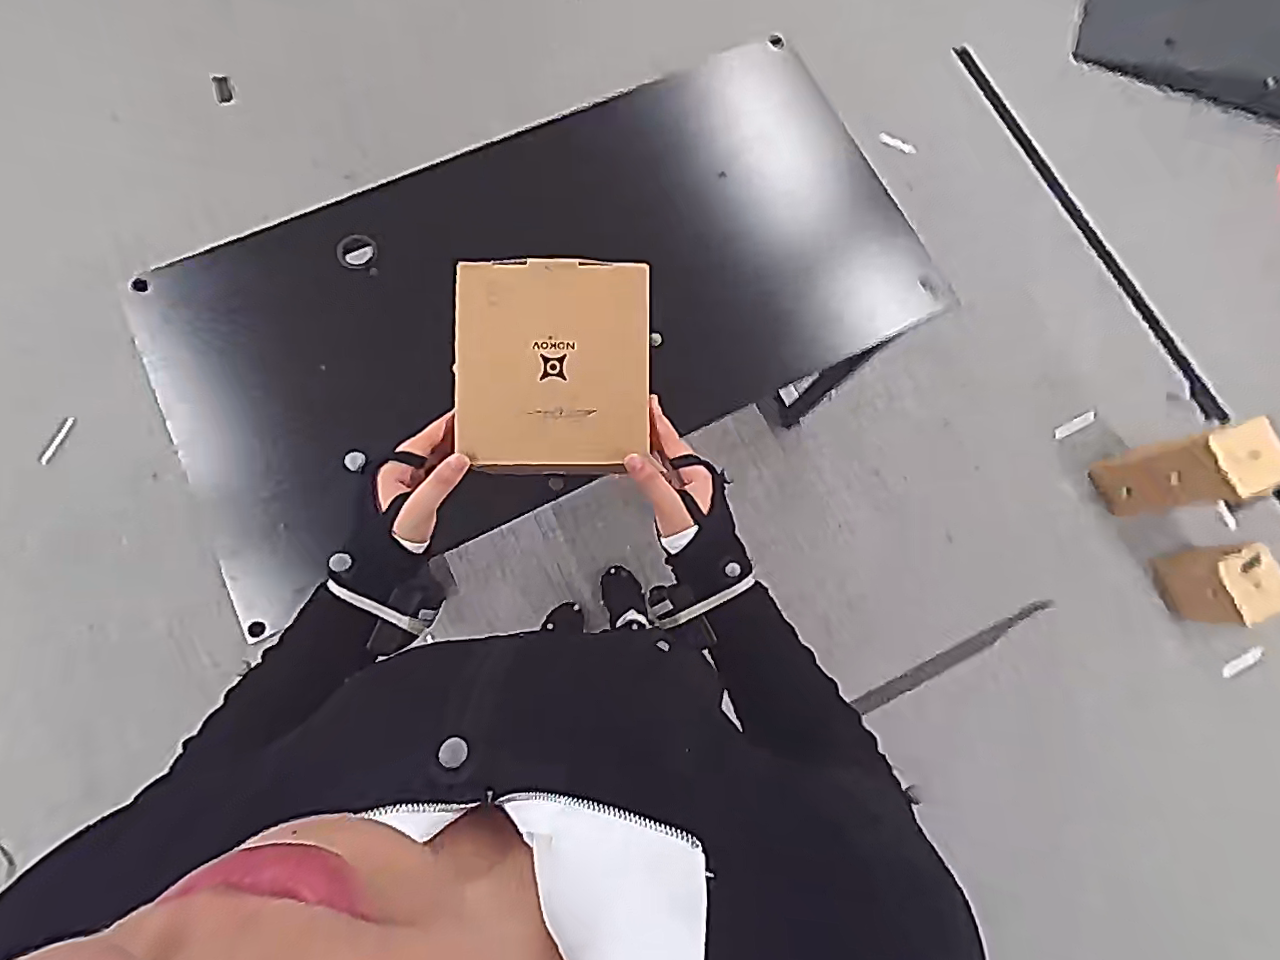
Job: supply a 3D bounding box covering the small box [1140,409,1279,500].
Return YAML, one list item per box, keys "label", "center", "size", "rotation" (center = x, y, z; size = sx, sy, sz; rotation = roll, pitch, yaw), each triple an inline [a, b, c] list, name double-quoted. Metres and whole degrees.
- label: "small box"
  center: [1.474, -0.060, 1.400]
  size: [0.179, 0.176, 0.168]
  rotation: [-21, 81, -6]

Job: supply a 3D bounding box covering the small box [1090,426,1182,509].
- label: "small box"
  center: [1.462, -0.029, 1.563]
  size: [0.179, 0.176, 0.168]
  rotation: [-27, 82, -7]

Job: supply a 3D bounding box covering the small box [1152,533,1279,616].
- label: "small box"
  center: [1.614, 0.266, 1.517]
  size: [0.168, 0.176, 0.179]
  rotation: [-23, 83, -7]

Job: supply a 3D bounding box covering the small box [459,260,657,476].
- label: "small box"
  center: [-0.072, -0.096, 0.538]
  size: [0.168, 0.176, 0.179]
  rotation: [1, 89, -1]
